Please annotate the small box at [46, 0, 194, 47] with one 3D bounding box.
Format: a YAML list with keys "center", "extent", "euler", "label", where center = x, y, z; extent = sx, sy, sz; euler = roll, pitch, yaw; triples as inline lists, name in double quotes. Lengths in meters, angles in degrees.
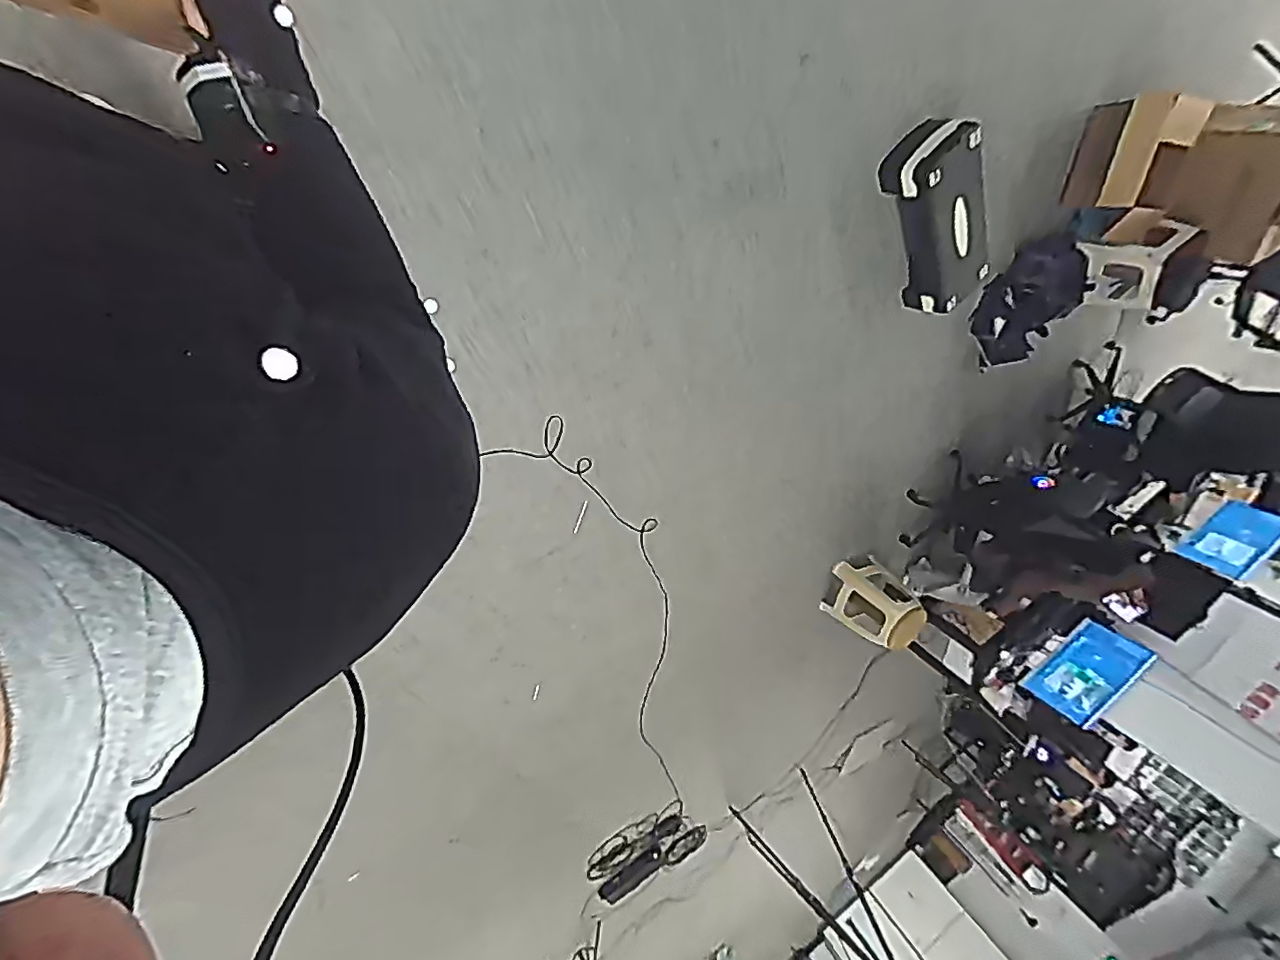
- center: [-0.390, -0.430, 0.333]
  extent: [0.168, 0.176, 0.179]
  euler: [-3, 90, -36]
  label: "small box"
